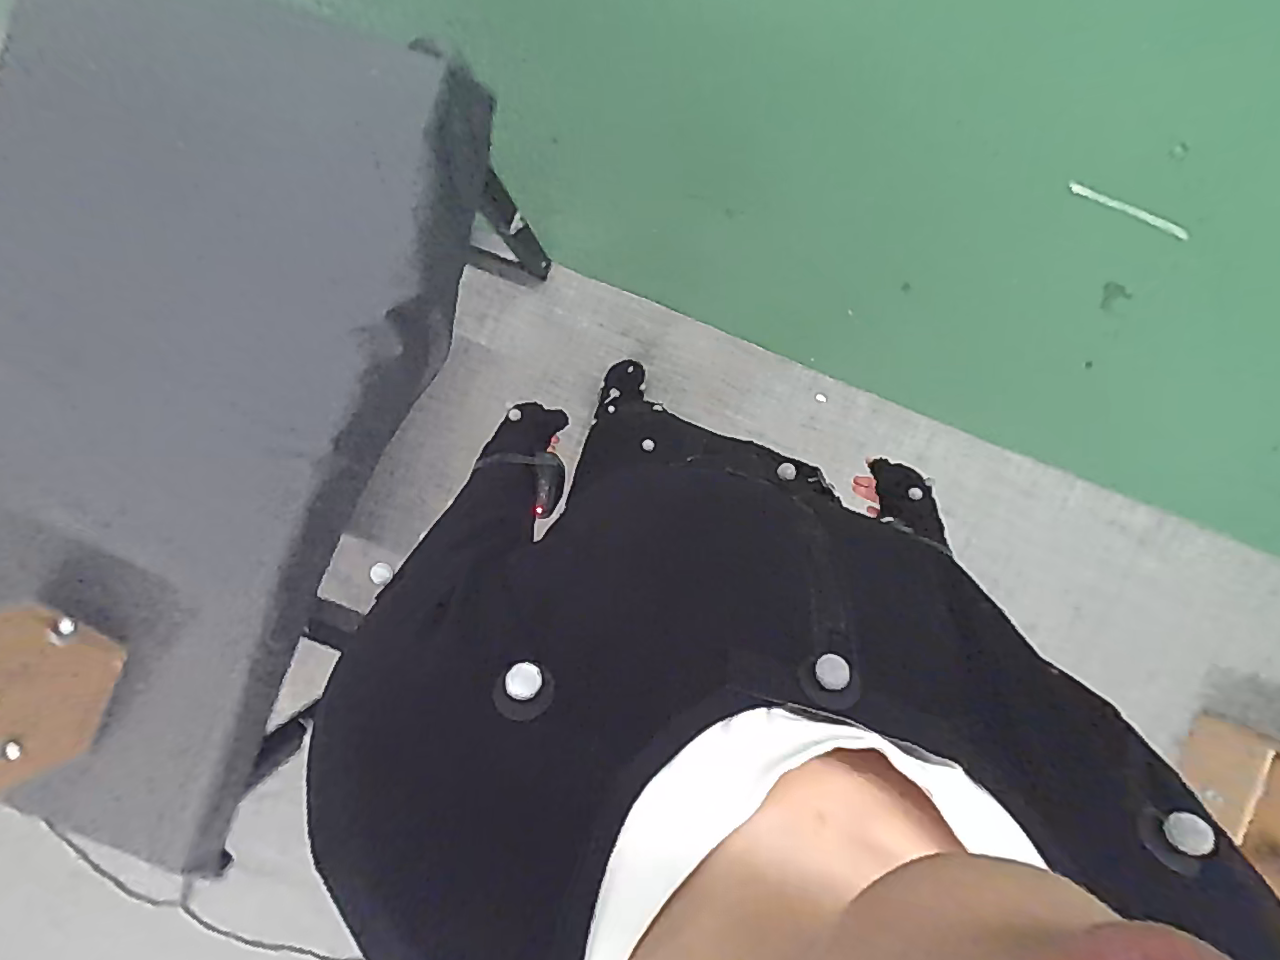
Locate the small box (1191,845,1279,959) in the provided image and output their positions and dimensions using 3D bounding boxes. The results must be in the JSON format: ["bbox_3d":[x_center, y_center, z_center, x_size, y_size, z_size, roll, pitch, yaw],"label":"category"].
[{"bbox_3d":[1.518,1.041,1.316,0.168,0.176,0.179,18,93,2],"label":"small box"}]

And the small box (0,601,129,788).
[{"bbox_3d":[-0.844,0.287,0.712,0.168,0.176,0.179,25,92,0],"label":"small box"}]

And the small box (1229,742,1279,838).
[{"bbox_3d":[1.595,0.771,1.298,0.168,0.176,0.179,13,95,1],"label":"small box"}]
